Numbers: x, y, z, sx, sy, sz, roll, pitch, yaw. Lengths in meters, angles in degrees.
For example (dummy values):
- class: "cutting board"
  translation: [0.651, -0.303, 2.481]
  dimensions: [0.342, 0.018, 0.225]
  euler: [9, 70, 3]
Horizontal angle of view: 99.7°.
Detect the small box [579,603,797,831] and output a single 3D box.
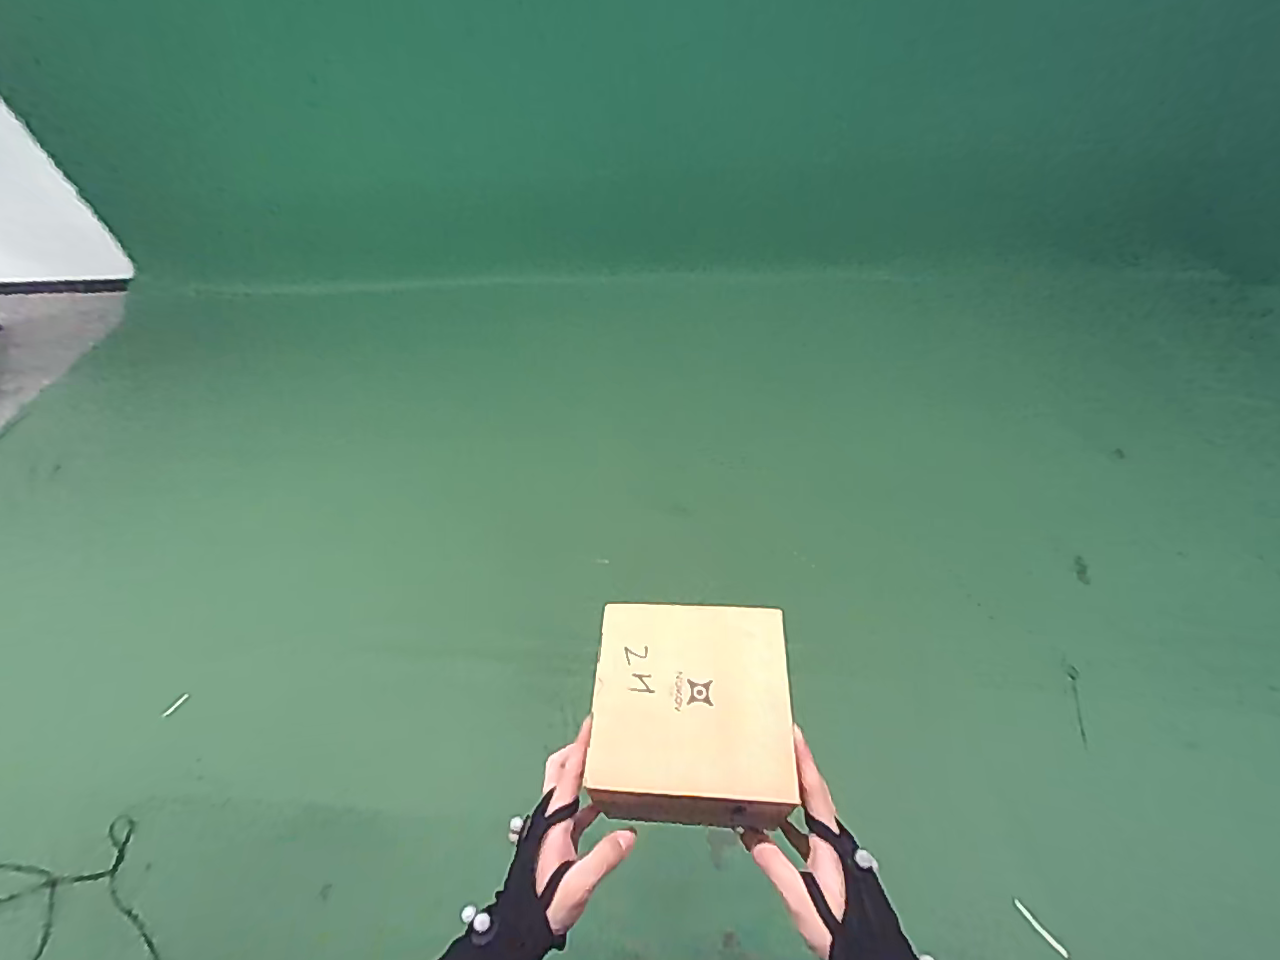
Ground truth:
- class: "small box"
  translation: [0.049, 0.239, 0.540]
  dimensions: [0.179, 0.176, 0.168]
  euler: [1, 50, 7]
